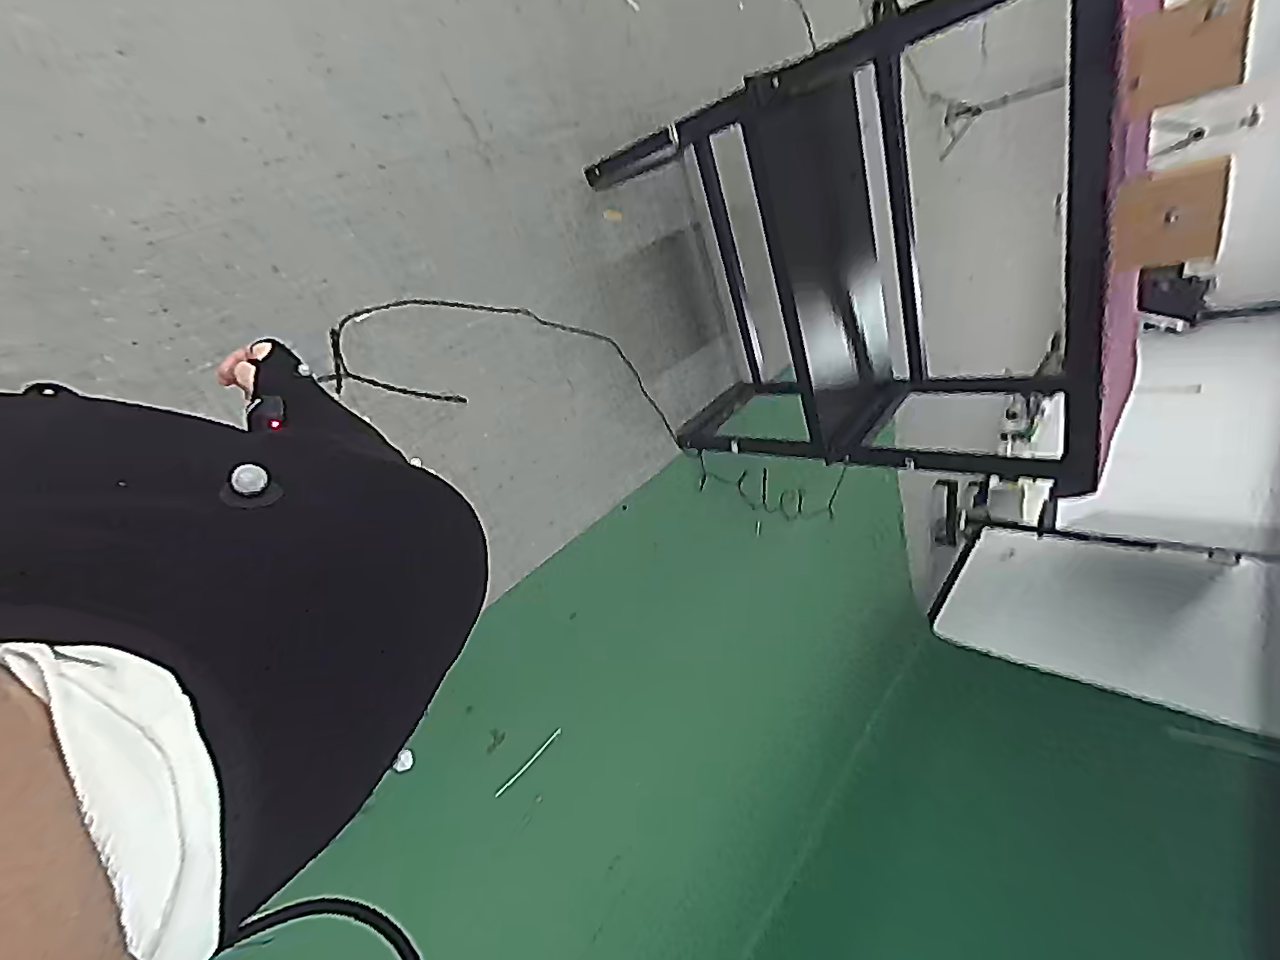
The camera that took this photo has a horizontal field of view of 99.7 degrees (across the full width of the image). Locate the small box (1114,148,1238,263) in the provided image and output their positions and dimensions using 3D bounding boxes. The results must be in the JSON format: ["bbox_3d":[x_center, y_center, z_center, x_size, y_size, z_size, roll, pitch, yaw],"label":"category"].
[{"bbox_3d":[1.120,-0.568,1.137,0.168,0.176,0.179,-35,118,-36],"label":"small box"}]
